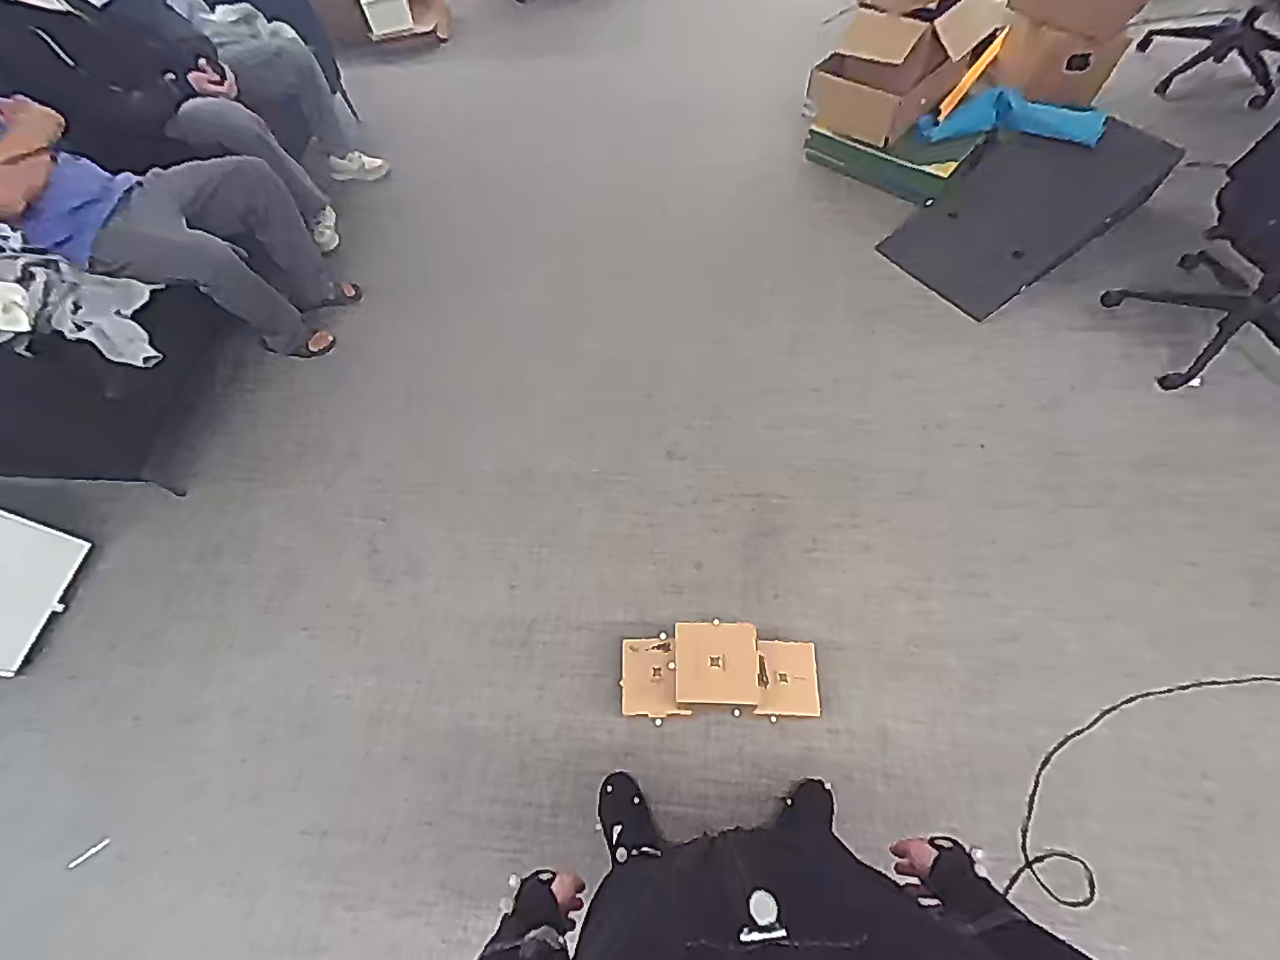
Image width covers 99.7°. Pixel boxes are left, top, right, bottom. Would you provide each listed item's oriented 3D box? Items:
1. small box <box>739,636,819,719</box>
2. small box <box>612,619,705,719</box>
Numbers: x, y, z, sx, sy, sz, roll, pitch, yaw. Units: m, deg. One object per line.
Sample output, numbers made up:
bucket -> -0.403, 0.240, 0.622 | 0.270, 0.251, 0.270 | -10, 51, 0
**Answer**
small box -> 0.340, 0.494, 1.341 | 0.179, 0.176, 0.168 | 4, 65, 8
small box -> 0.054, 0.483, 1.369 | 0.179, 0.176, 0.168 | -29, 62, -8
